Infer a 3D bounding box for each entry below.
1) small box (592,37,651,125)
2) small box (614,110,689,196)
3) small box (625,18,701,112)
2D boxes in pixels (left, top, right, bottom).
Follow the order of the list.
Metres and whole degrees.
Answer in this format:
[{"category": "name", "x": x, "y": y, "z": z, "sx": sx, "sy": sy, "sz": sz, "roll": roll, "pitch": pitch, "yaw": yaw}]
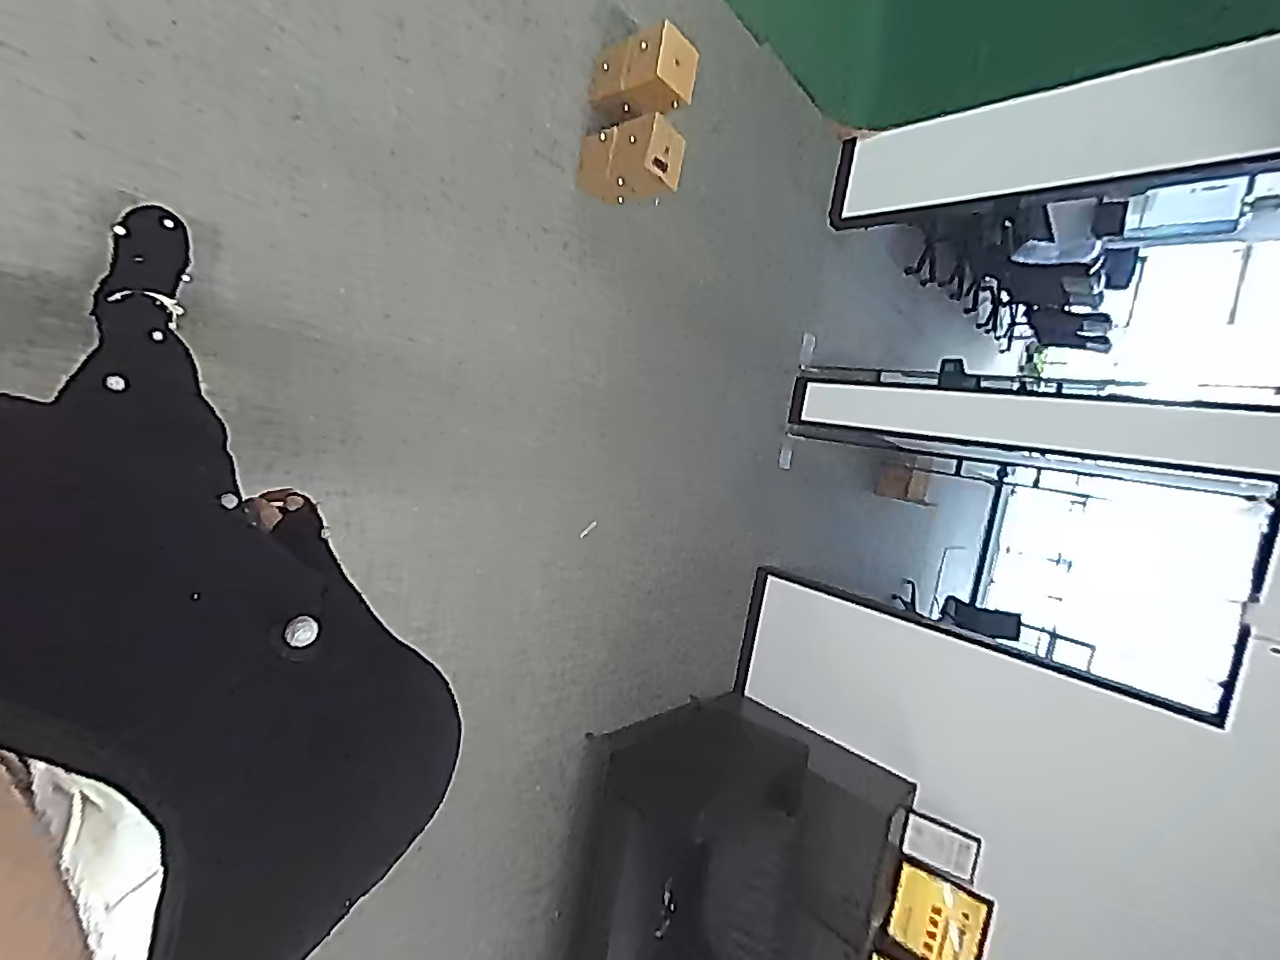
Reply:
[{"category": "small box", "x": -0.042, "y": -1.379, "z": 1.887, "sx": 0.179, "sy": 0.176, "sz": 0.168, "roll": 9, "pitch": 95, "yaw": -47}, {"category": "small box", "x": 0.033, "y": -1.081, "z": 1.807, "sx": 0.168, "sy": 0.176, "sz": 0.179, "roll": 10, "pitch": 92, "yaw": -48}, {"category": "small box", "x": 0.072, "y": -1.347, "z": 1.778, "sx": 0.179, "sy": 0.176, "sz": 0.168, "roll": 5, "pitch": 97, "yaw": -48}]
